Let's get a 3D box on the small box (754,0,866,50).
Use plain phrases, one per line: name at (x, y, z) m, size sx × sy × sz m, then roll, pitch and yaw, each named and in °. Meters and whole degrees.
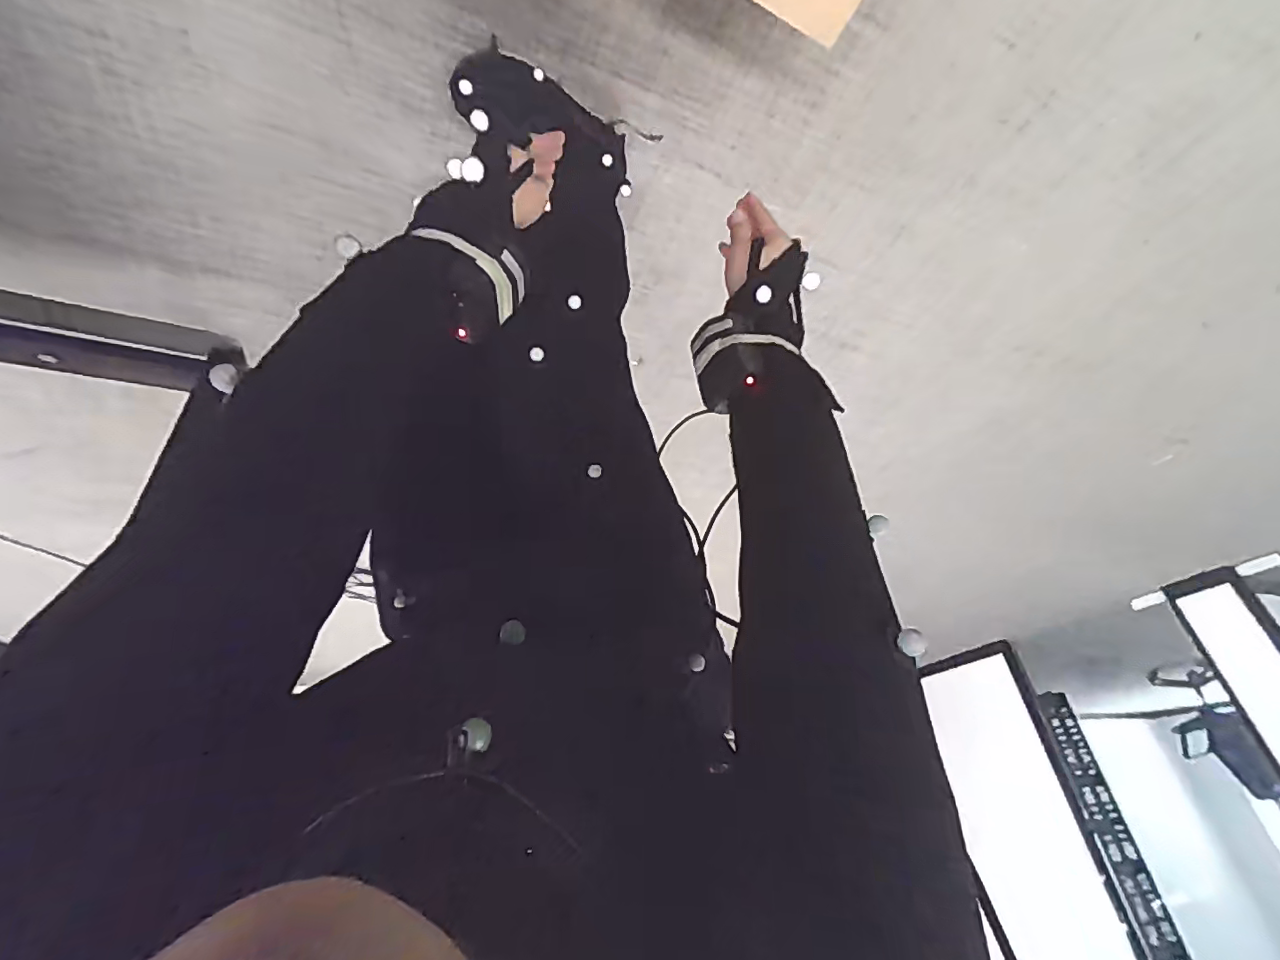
small box at (0.162, -0.578, 0.516) m, size 0.168 × 0.176 × 0.179 m, roll 11°, pitch 145°, yaw -22°
